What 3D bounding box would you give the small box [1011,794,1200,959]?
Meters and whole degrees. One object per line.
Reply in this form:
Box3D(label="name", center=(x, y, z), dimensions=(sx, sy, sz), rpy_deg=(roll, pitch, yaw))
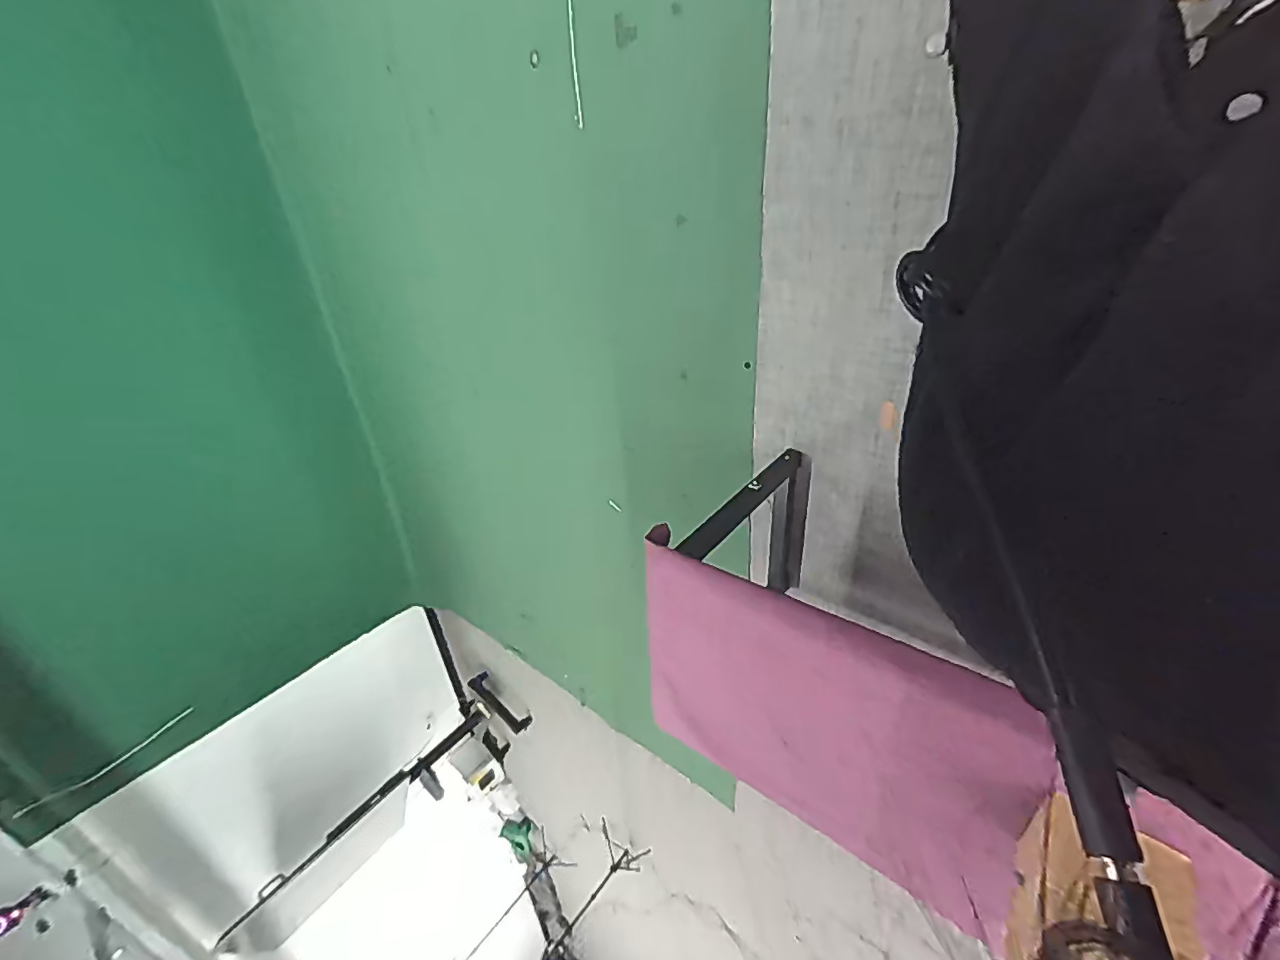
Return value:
Box3D(label="small box", center=(0.681, 0.618, 0.795), dimensions=(0.168, 0.176, 0.179), rpy_deg=(21, 128, 34))
